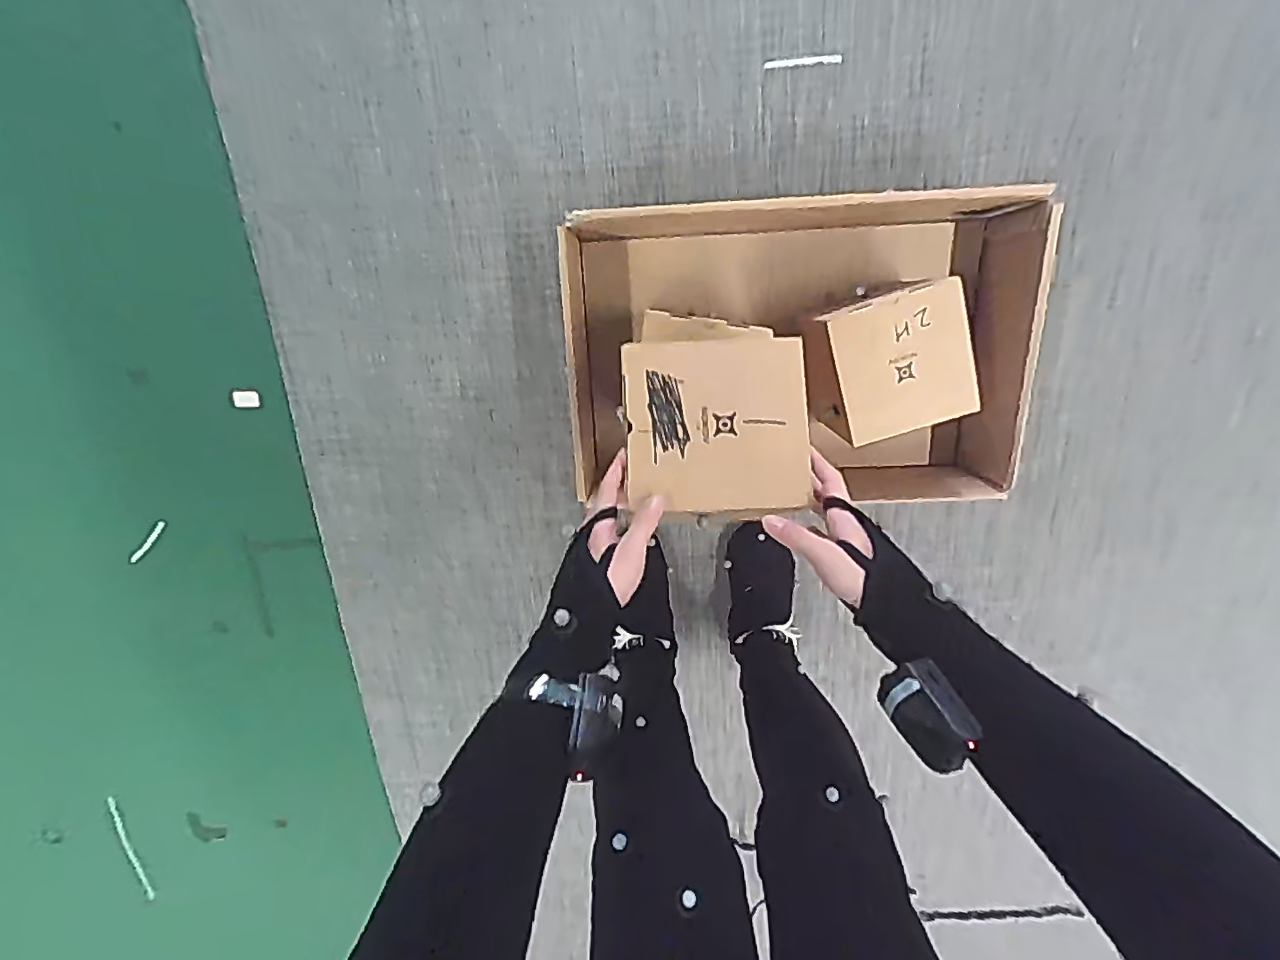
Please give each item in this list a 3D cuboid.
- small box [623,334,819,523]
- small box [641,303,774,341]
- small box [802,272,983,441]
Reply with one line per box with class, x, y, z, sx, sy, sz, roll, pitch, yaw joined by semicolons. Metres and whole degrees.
small box;0.077;-0.043;0.581;0.179;0.176;0.168;-2;82;1
small box;0.079;-0.149;0.776;0.168;0.176;0.179;8;106;-1
small box;0.340;-0.175;0.755;0.168;0.176;0.179;-17;105;8
